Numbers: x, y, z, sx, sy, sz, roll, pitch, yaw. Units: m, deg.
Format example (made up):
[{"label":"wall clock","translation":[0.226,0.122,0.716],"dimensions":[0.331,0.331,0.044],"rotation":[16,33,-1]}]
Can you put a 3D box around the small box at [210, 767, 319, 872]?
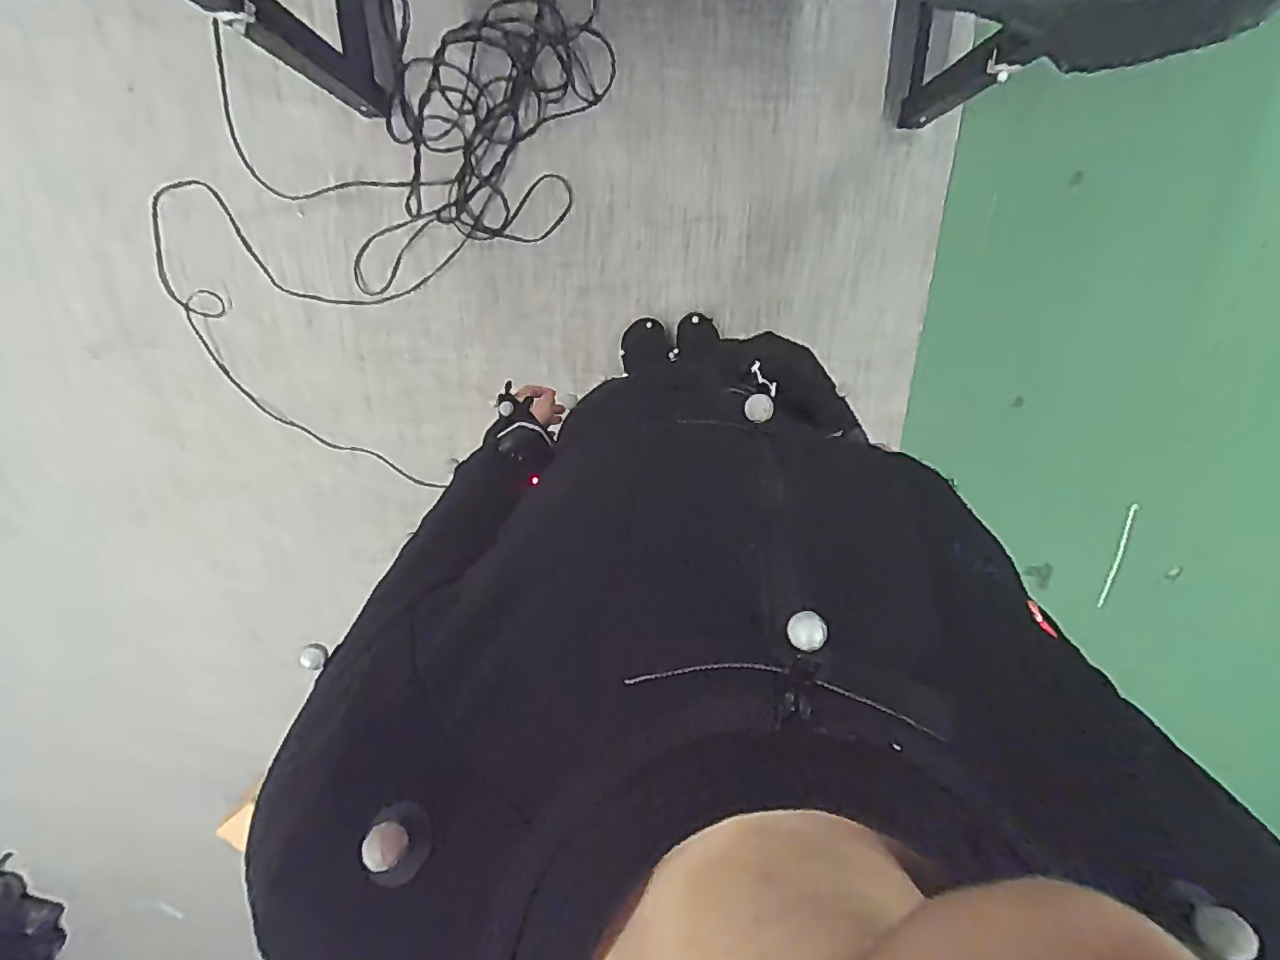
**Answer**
[{"label":"small box","translation":[-1.109,1.010,1.616],"dimensions":[0.179,0.176,0.168],"rotation":[-41,106,11]}]
